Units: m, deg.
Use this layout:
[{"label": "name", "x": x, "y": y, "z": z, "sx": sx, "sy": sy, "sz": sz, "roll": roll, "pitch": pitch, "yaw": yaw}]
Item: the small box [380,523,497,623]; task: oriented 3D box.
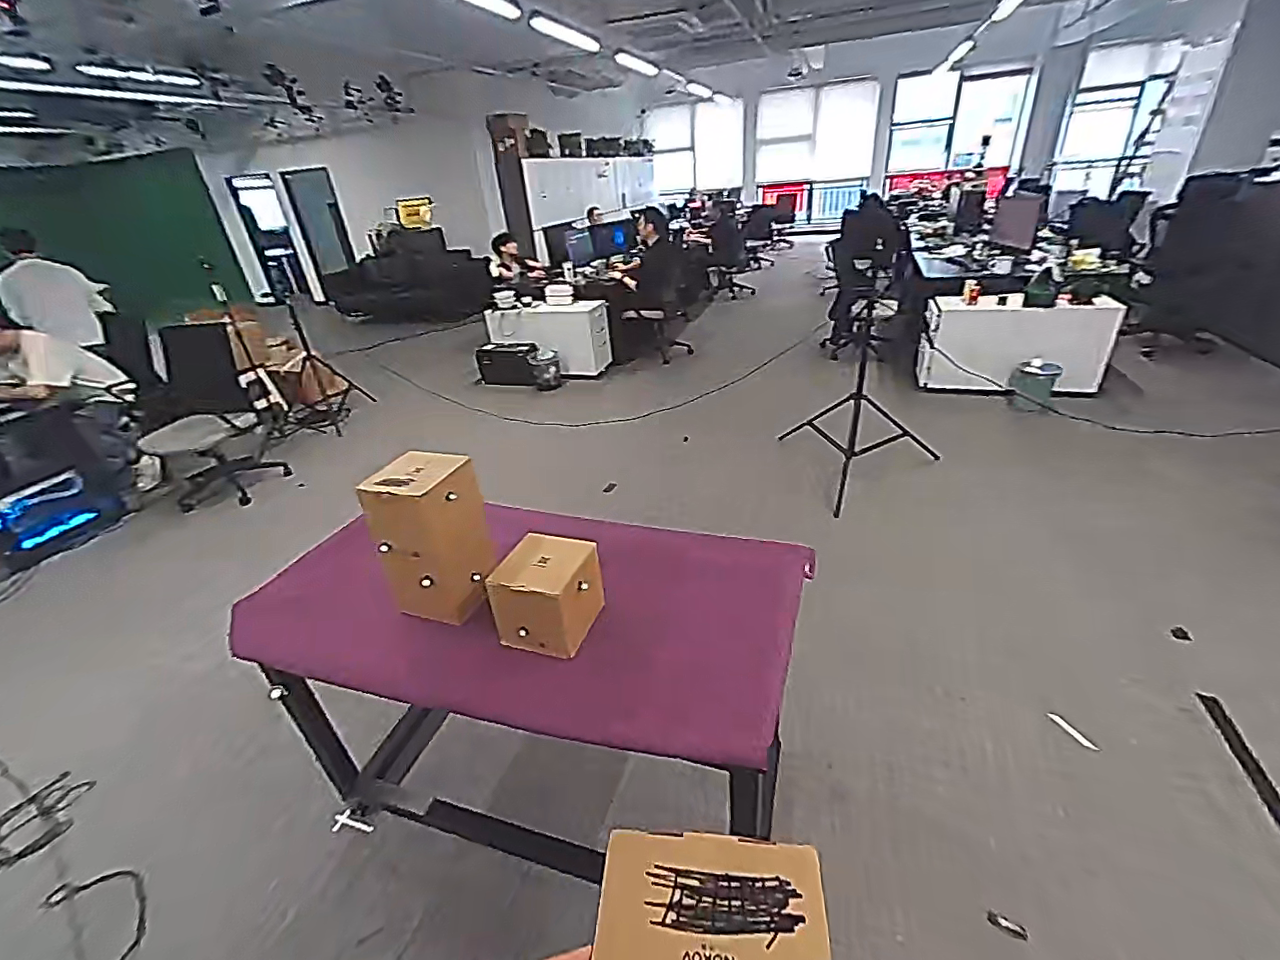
[{"label": "small box", "x": -0.447, "y": 0.203, "z": 1.239, "sx": 0.179, "sy": 0.176, "sz": 0.168, "roll": 6, "pitch": 31, "yaw": 20}]

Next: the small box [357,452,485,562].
[{"label": "small box", "x": -0.458, "y": 0.056, "z": 1.164, "sx": 0.168, "sy": 0.176, "sz": 0.179, "roll": 5, "pitch": 31, "yaw": 18}]

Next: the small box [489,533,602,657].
[{"label": "small box", "x": -0.187, "y": 0.236, "z": 1.135, "sx": 0.168, "sy": 0.176, "sz": 0.179, "roll": 6, "pitch": 31, "yaw": 20}]
